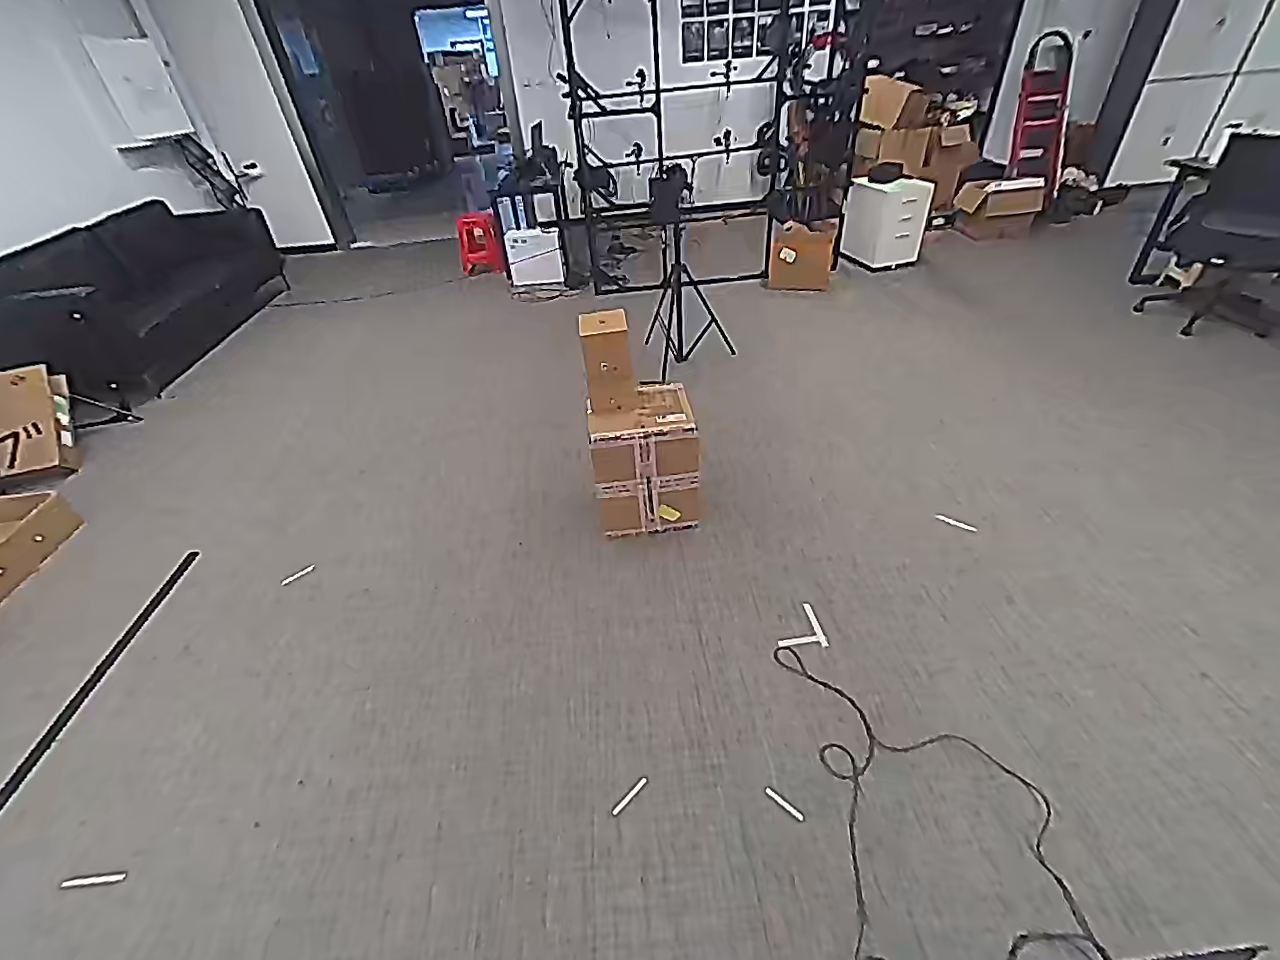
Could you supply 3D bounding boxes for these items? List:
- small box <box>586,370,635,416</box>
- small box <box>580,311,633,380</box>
[{"bbox_3d":[-0.112,-0.364,2.033,0.168,0.176,0.179,-8,41,-1],"label":"small box"},{"bbox_3d":[-0.119,-0.475,1.913,0.168,0.176,0.179,-9,41,-1],"label":"small box"}]
